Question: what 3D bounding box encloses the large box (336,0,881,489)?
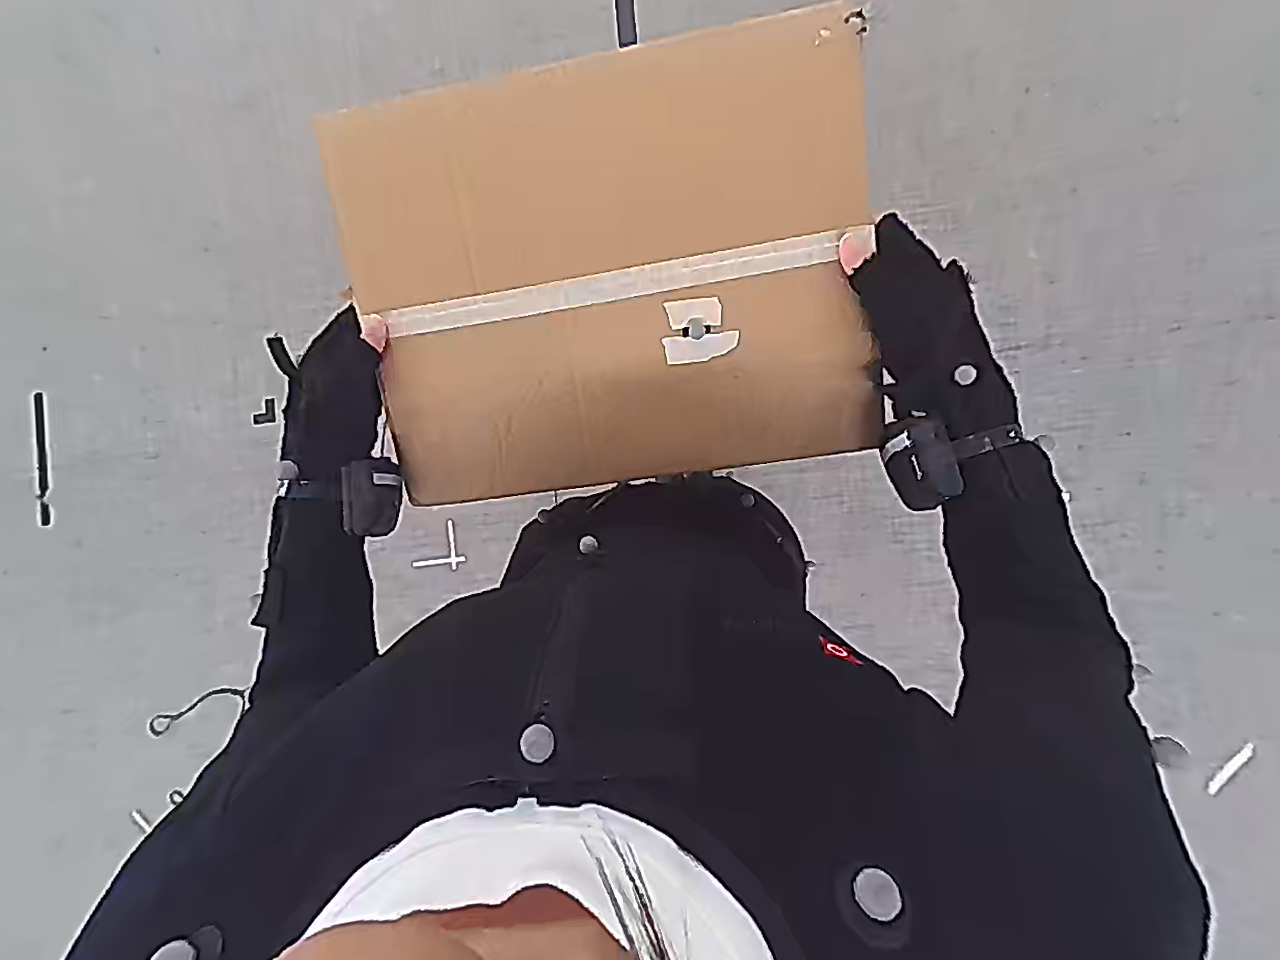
[{"bbox_3d":[-0.012,-0.200,0.577,0.408,0.320,0.320,-8,103,6],"label":"large box"}]
